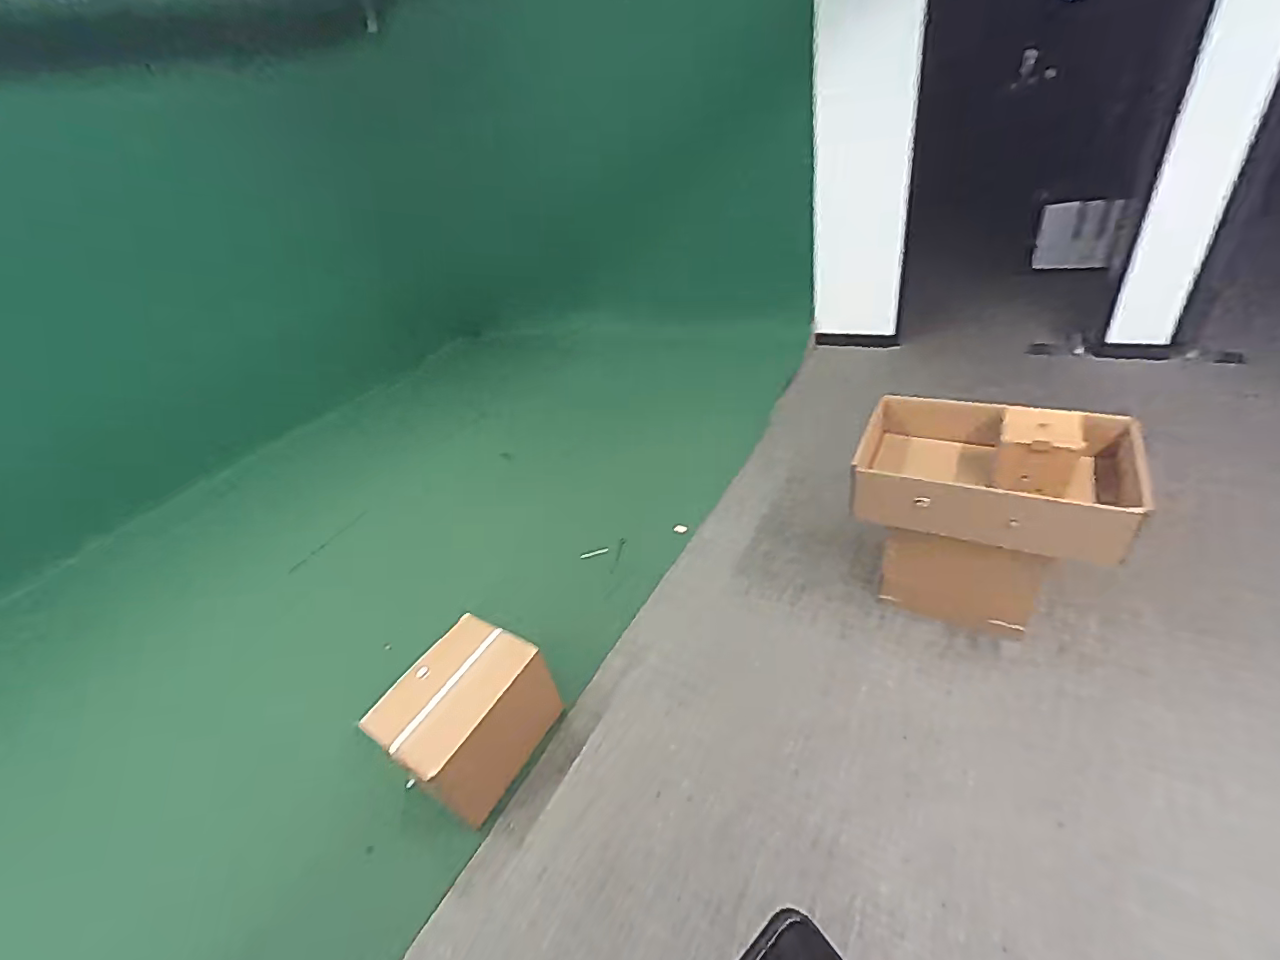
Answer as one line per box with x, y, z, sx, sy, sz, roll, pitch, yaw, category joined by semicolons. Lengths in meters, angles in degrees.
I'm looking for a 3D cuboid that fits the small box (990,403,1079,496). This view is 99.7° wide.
1.045;-0.084;1.438;0.168;0.176;0.179;10;43;31;small box
